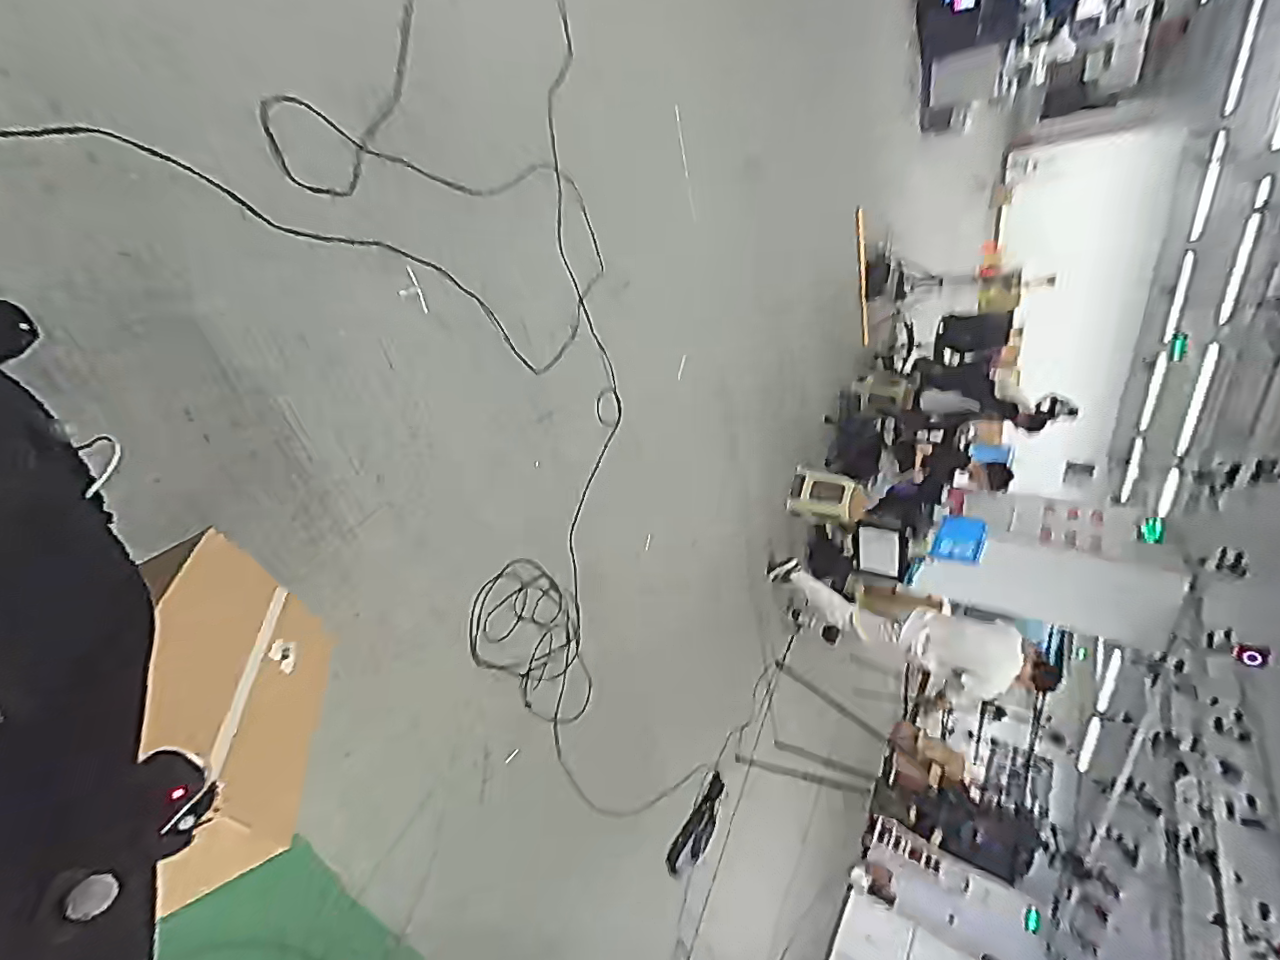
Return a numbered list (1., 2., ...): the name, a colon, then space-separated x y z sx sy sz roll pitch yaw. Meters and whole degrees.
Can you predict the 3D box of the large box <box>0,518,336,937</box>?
1. large box: -0.720 0.337 0.802 0.320 0.408 0.320 -27 123 -5
